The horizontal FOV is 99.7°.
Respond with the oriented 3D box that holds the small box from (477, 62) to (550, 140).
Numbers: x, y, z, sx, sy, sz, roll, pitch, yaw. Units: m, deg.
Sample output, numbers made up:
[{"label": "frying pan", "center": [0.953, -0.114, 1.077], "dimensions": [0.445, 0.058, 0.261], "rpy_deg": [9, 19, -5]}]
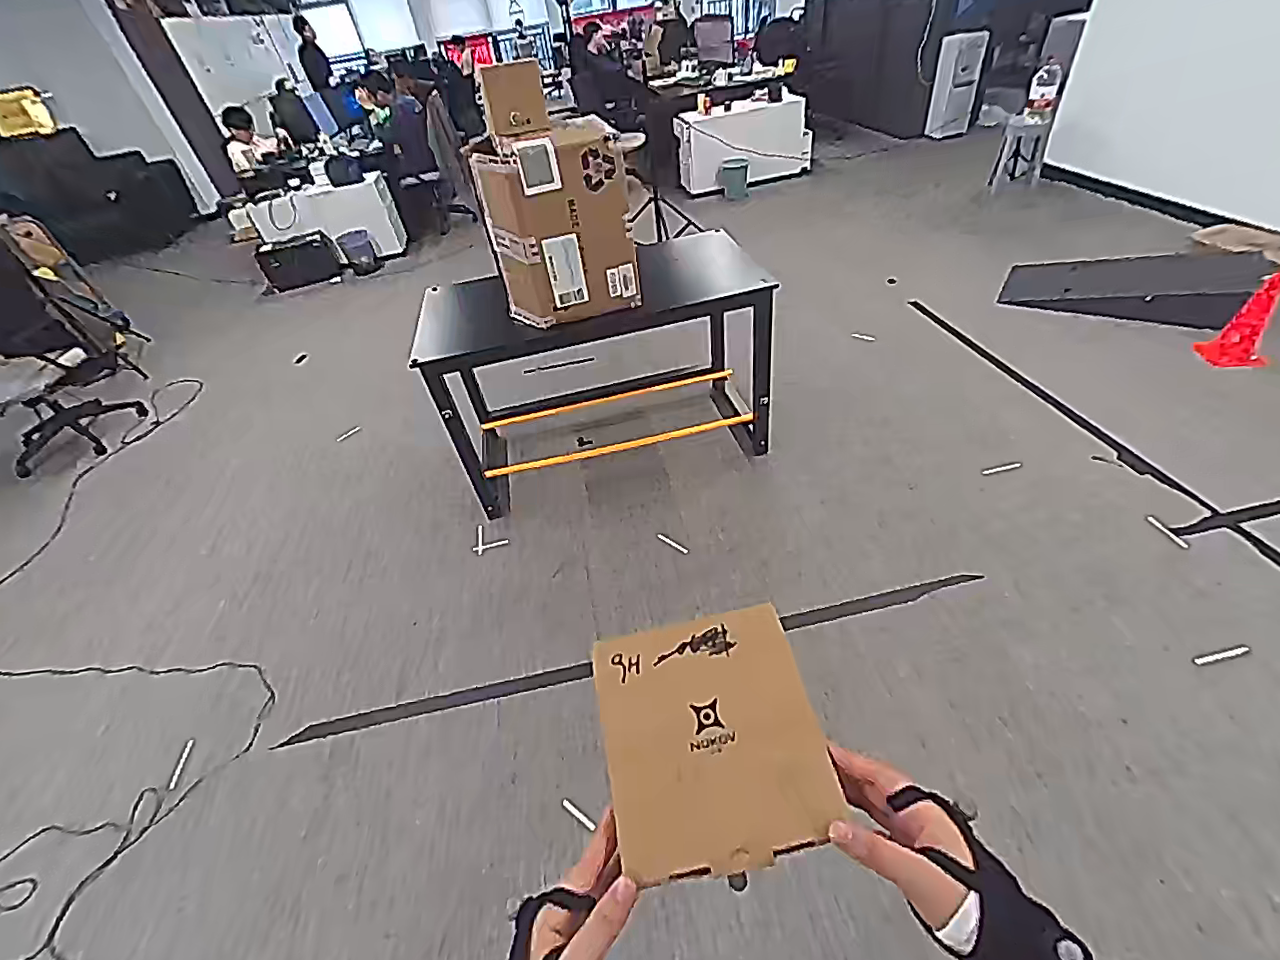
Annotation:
[{"label": "small box", "center": [-0.376, -1.126, 1.606], "dimensions": [0.168, 0.176, 0.179], "rpy_deg": [-17, 41, -9]}]
